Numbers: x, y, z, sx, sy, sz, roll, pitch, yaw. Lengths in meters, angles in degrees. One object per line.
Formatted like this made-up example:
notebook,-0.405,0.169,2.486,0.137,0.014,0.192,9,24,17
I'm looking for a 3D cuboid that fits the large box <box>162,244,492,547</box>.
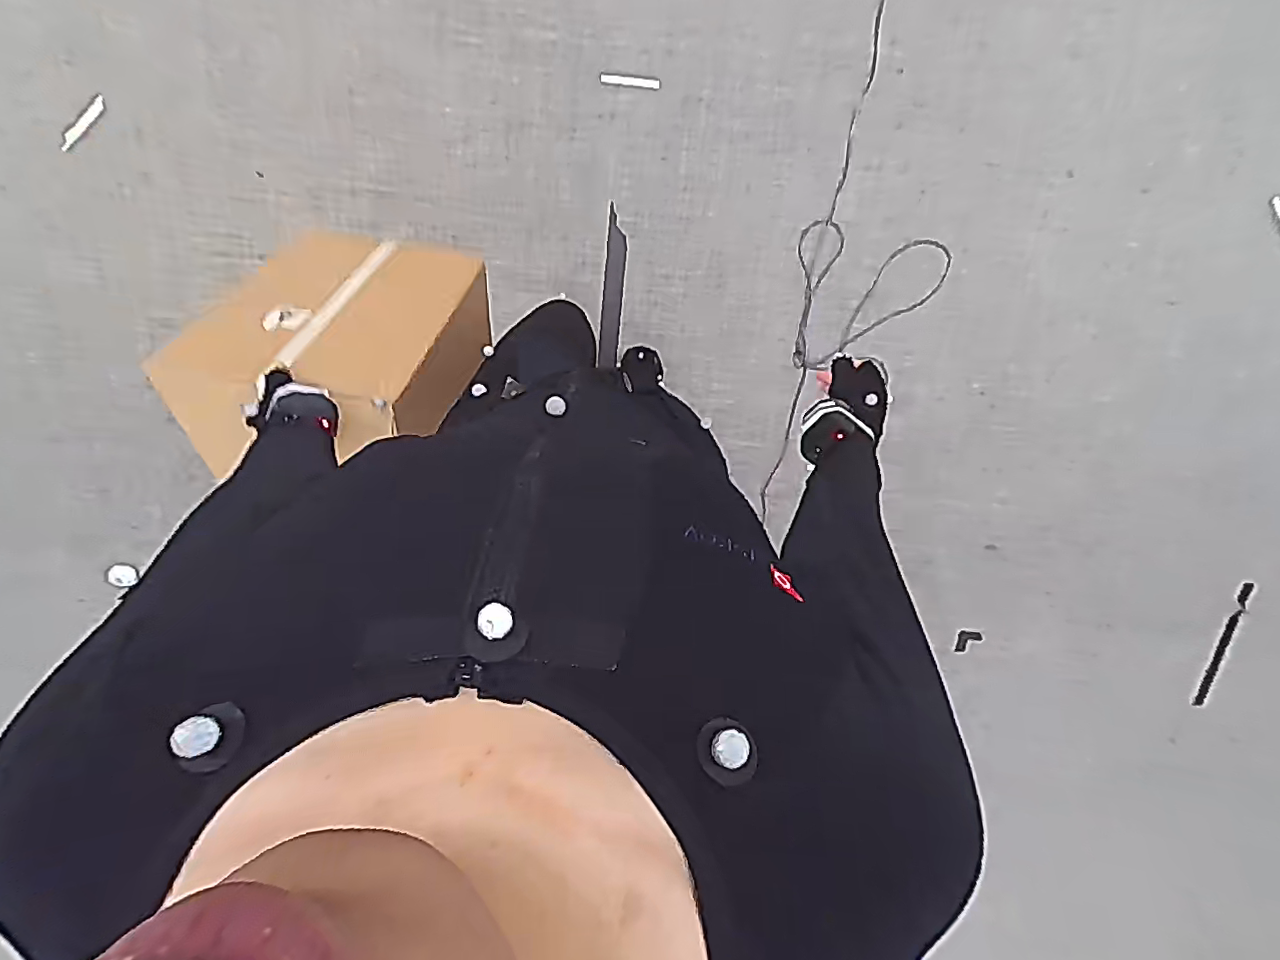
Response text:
large box,-0.465,-0.151,0.935,0.320,0.408,0.320,8,137,-1
